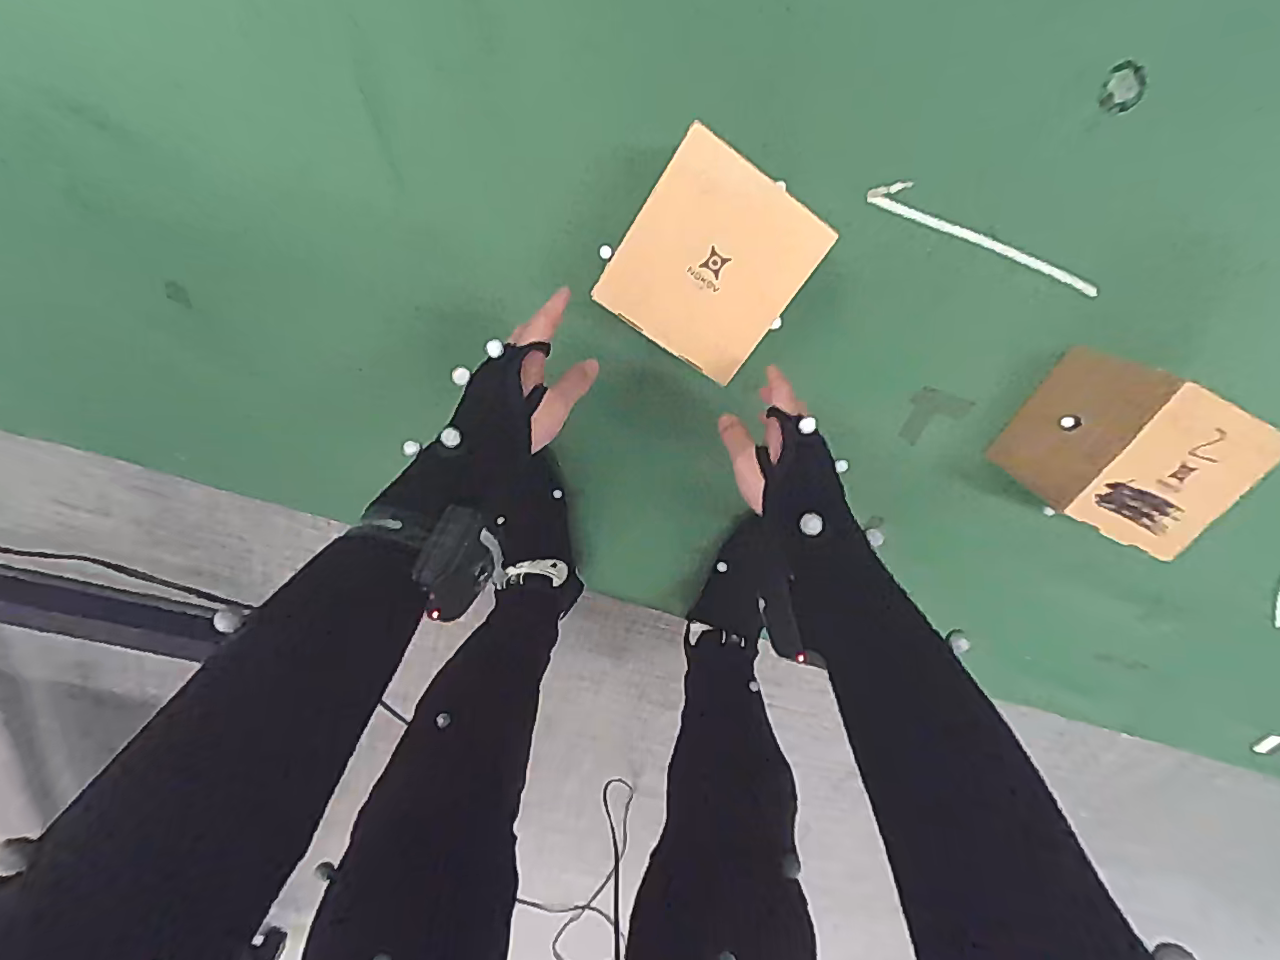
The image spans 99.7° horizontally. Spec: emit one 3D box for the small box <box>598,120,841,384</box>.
[{"bbox_3d":[0.072,-0.238,0.576,0.168,0.176,0.179,31,115,-14],"label":"small box"}]
